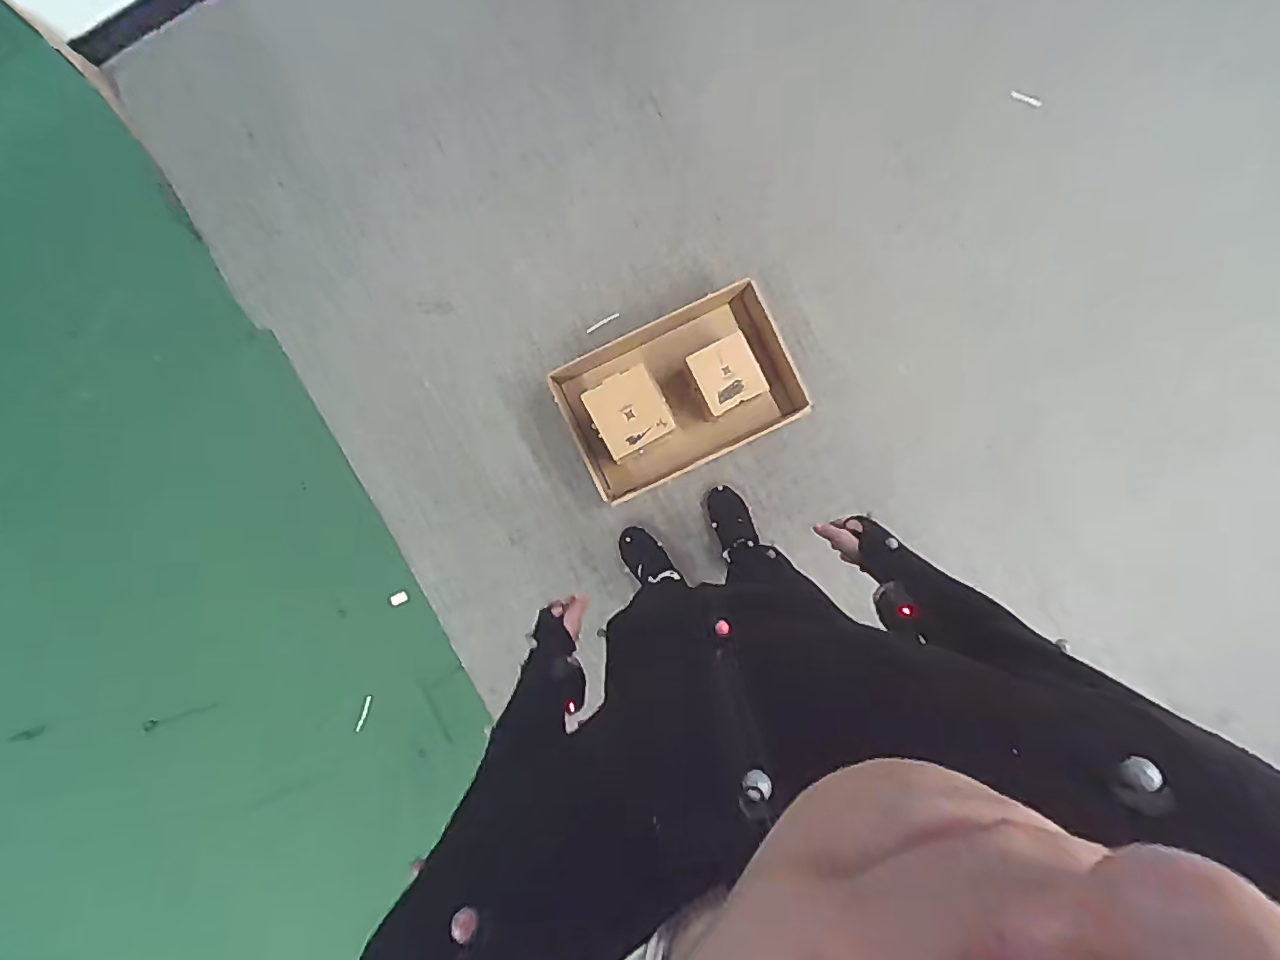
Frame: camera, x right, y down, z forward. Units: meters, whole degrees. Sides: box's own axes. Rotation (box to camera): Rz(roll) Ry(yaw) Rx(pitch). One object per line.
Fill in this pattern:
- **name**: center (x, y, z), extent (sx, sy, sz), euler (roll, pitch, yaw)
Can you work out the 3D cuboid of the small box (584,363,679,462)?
- **small box**: center (-0.018, -0.157, 1.318), extent (0.168, 0.176, 0.179), euler (-28, 89, 2)
